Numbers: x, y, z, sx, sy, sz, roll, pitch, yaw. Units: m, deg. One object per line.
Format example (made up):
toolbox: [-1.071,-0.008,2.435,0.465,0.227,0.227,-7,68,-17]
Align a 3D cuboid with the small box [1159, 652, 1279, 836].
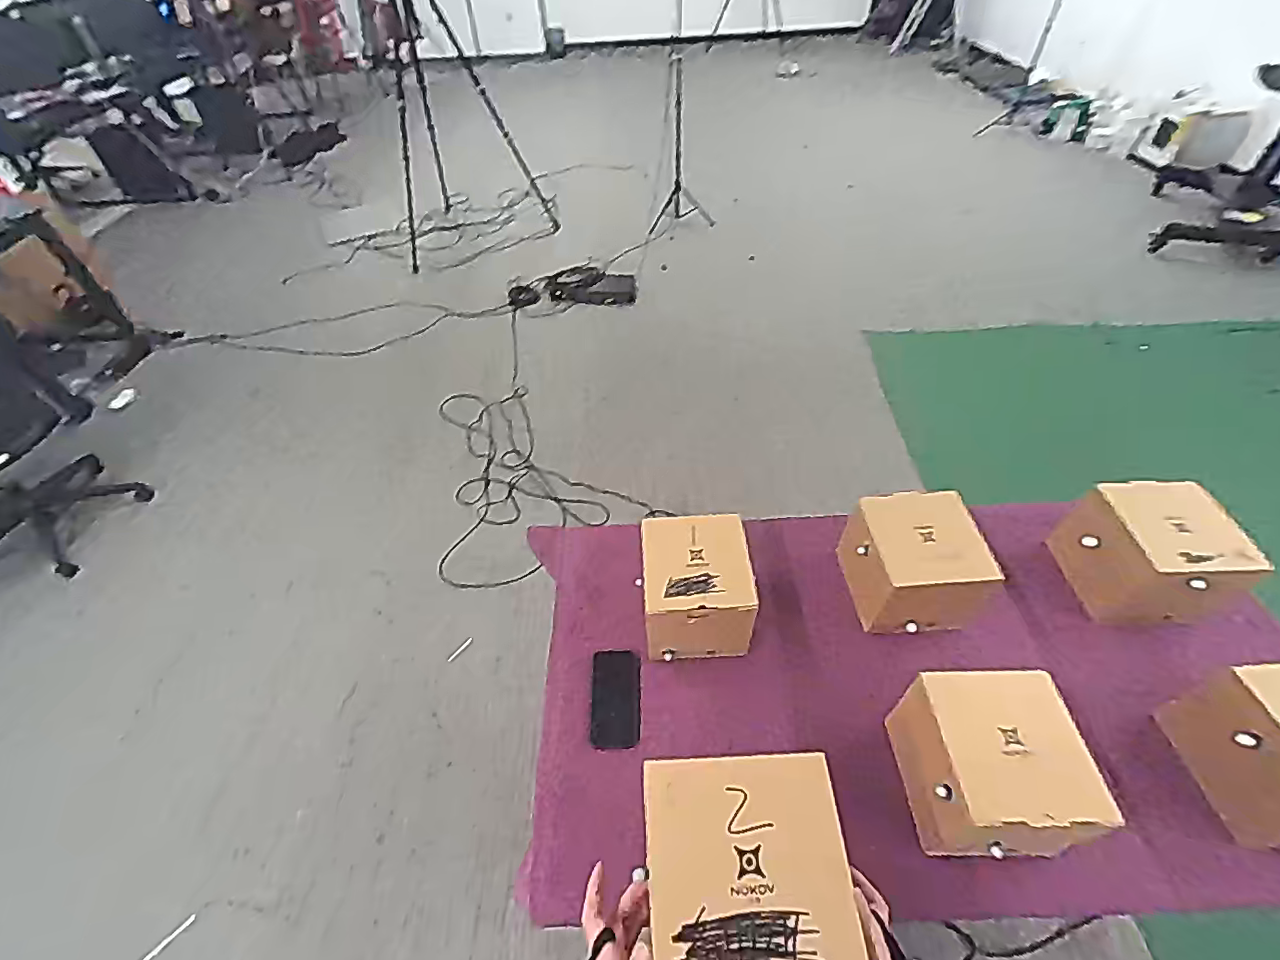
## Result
small box: [0.845,0.336,0.693,0.168,0.176,0.179,-5,49,2]

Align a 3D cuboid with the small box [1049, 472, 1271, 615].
small box: [0.839,0.107,0.902,0.168,0.176,0.179,-3,48,3]

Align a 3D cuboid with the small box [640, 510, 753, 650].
small box: [0.088,0.172,0.900,0.168,0.176,0.179,-4,48,1]

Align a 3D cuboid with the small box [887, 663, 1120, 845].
small box: [0.449,0.359,0.709,0.168,0.176,0.179,-2,48,2]

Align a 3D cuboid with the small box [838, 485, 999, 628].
small box: [0.451,0.130,0.913,0.168,0.176,0.179,-4,49,1]
